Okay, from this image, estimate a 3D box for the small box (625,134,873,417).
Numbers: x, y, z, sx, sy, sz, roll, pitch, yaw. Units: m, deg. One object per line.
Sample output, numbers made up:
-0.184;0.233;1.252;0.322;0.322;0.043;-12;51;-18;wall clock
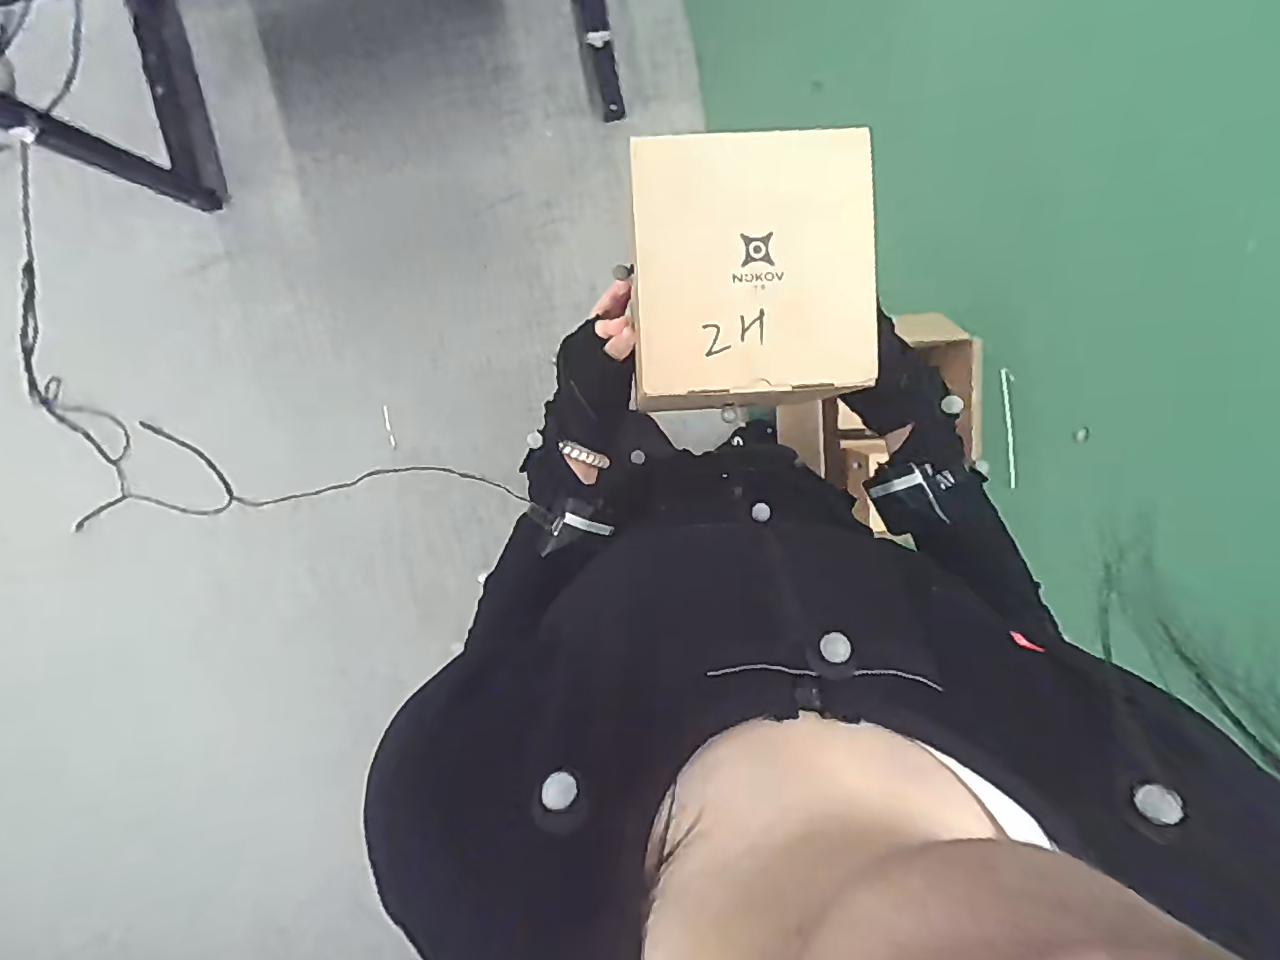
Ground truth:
0.074;-0.150;0.451;0.168;0.176;0.179;-4;93;-1;small box
